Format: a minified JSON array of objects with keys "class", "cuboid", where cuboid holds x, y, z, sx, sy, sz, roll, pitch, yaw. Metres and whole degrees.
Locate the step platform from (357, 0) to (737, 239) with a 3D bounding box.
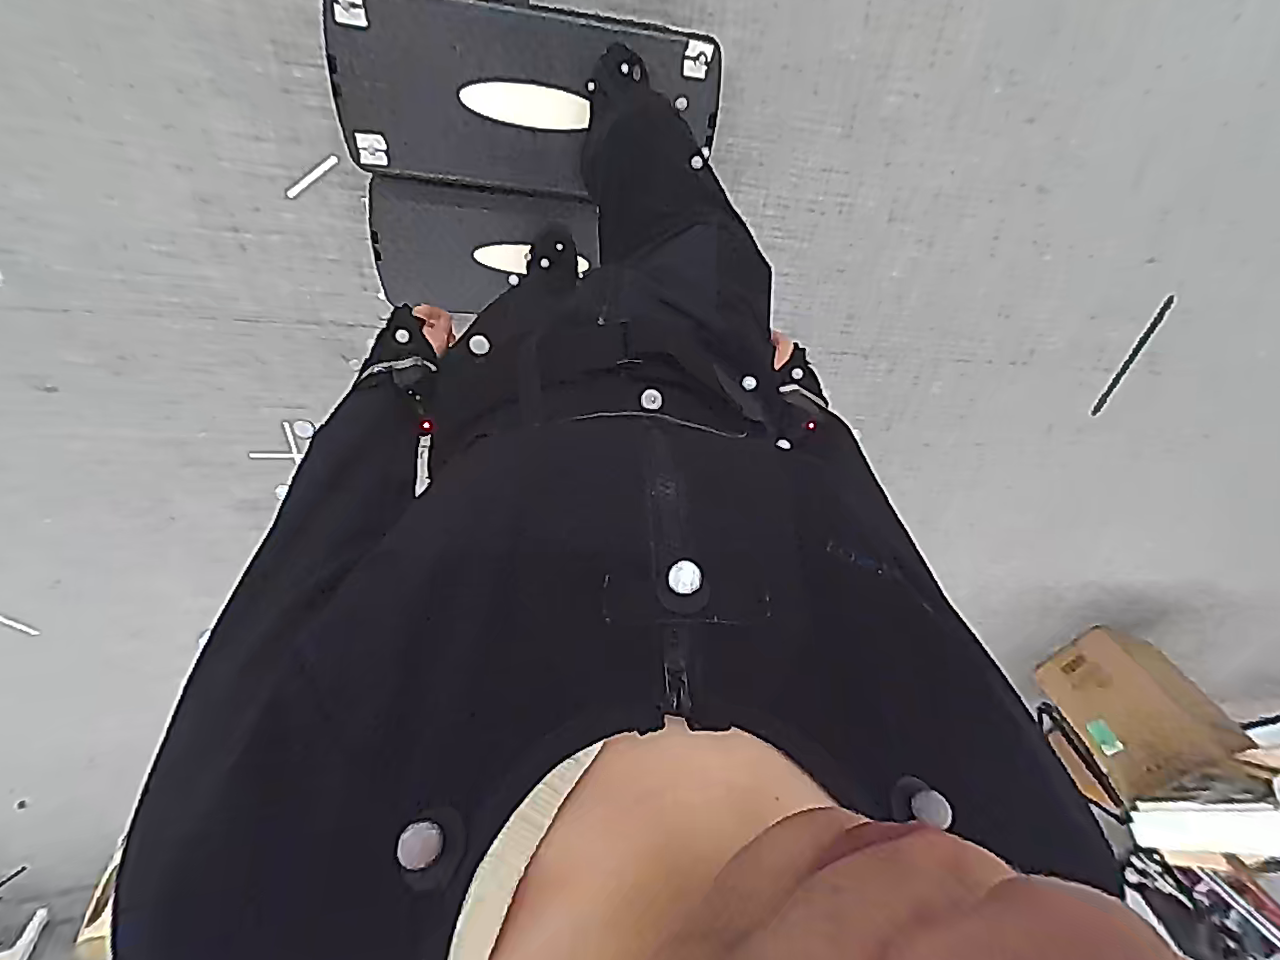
[{"class":"step platform","cuboid":[-0.163,-0.681,1.046,0.684,0.204,0.286,5,125,-13]}]
